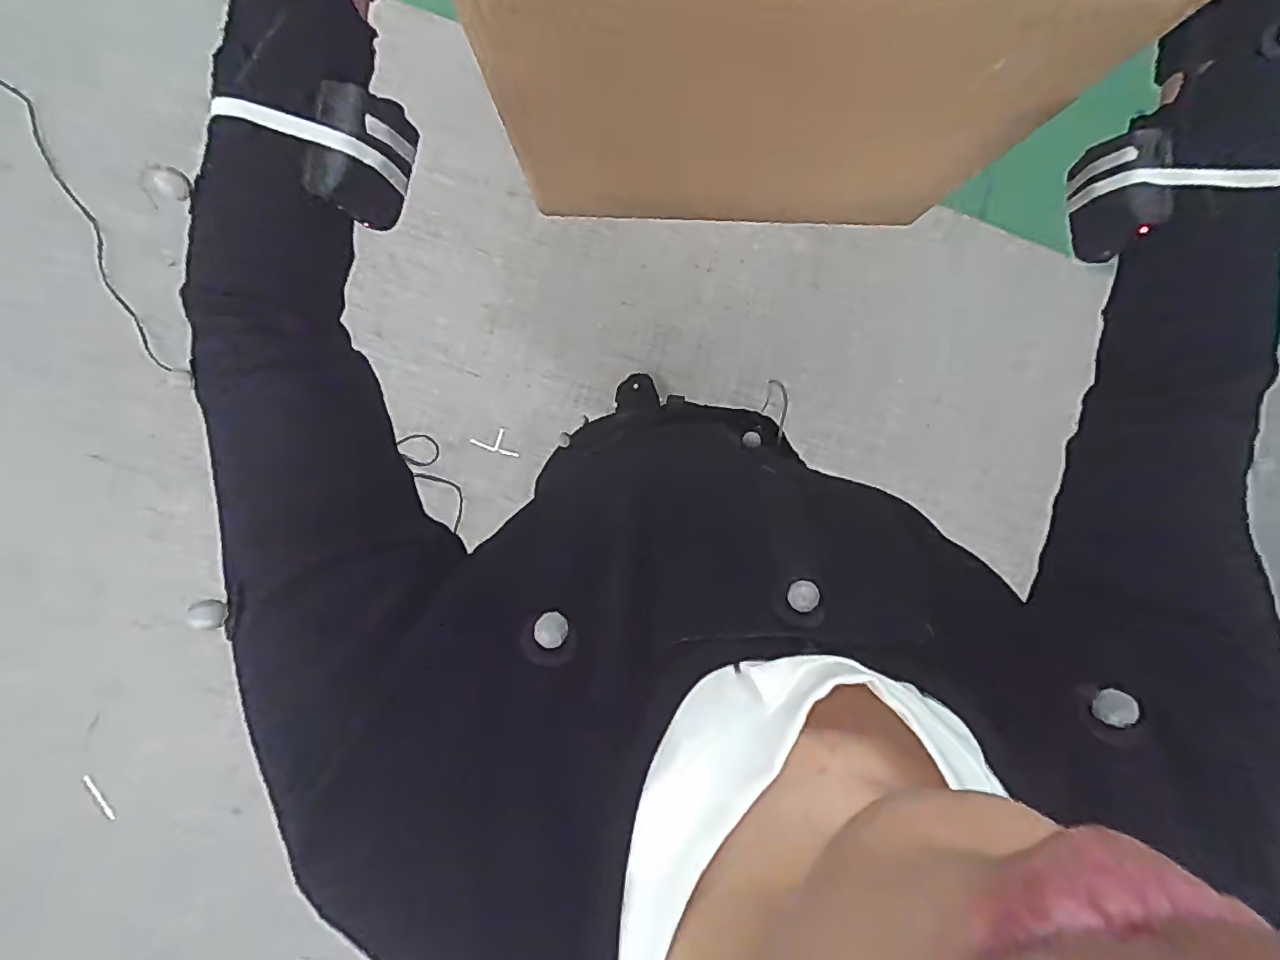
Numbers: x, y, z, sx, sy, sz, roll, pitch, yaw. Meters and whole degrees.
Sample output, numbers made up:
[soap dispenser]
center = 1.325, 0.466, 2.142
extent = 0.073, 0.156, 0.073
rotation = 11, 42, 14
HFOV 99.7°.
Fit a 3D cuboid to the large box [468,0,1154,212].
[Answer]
[large box]
center = 0.093, -0.428, 0.421
extent = 0.408, 0.320, 0.320
rotation = 0, 96, -1
